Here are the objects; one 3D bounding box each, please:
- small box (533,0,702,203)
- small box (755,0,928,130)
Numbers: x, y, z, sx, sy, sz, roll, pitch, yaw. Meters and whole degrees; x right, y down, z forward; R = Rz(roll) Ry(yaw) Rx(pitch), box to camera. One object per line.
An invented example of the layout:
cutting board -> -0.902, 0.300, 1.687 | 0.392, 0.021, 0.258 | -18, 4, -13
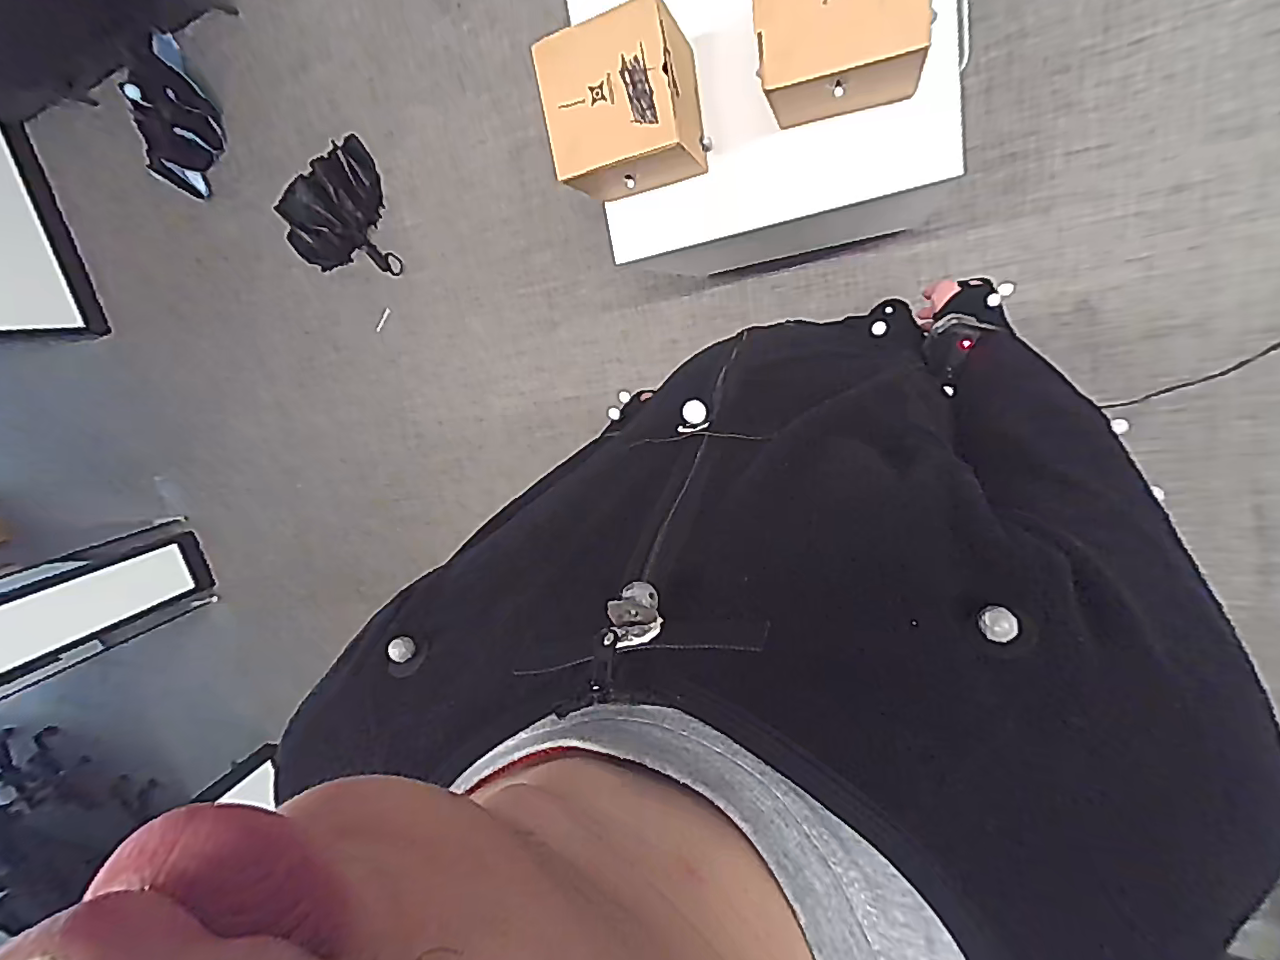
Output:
small box -> -0.018, -0.507, 0.756 | 0.179, 0.176, 0.168 | -4, 105, 23
small box -> 0.239, -0.546, 0.646 | 0.179, 0.176, 0.168 | -1, 108, 21
